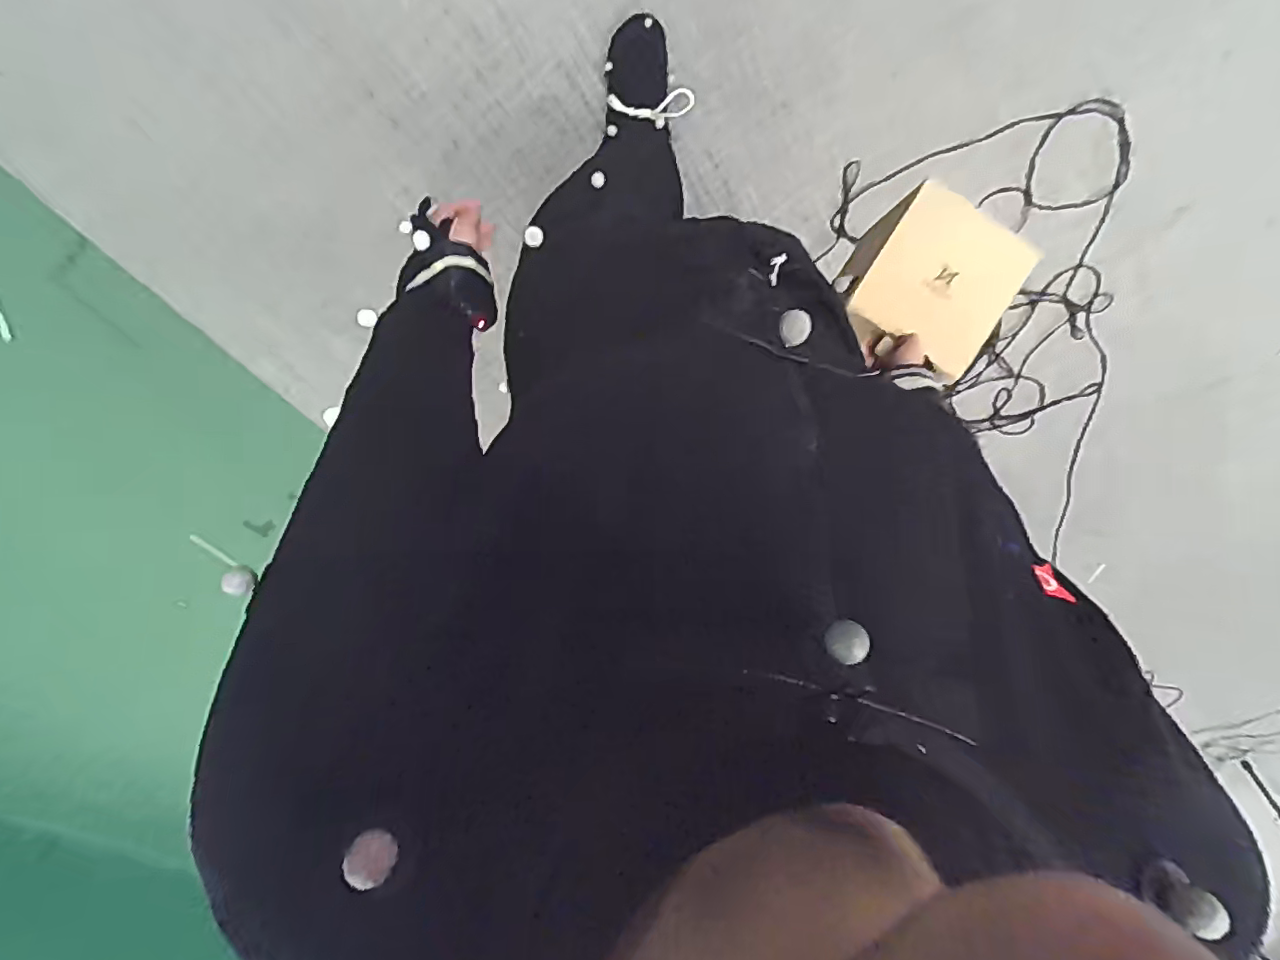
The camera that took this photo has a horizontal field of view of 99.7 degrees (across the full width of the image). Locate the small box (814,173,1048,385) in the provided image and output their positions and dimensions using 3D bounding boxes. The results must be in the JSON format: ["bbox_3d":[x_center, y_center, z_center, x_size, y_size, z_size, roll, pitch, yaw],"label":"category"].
[{"bbox_3d":[0.355,-0.241,0.700,0.168,0.176,0.179,32,94,-4],"label":"small box"}]
